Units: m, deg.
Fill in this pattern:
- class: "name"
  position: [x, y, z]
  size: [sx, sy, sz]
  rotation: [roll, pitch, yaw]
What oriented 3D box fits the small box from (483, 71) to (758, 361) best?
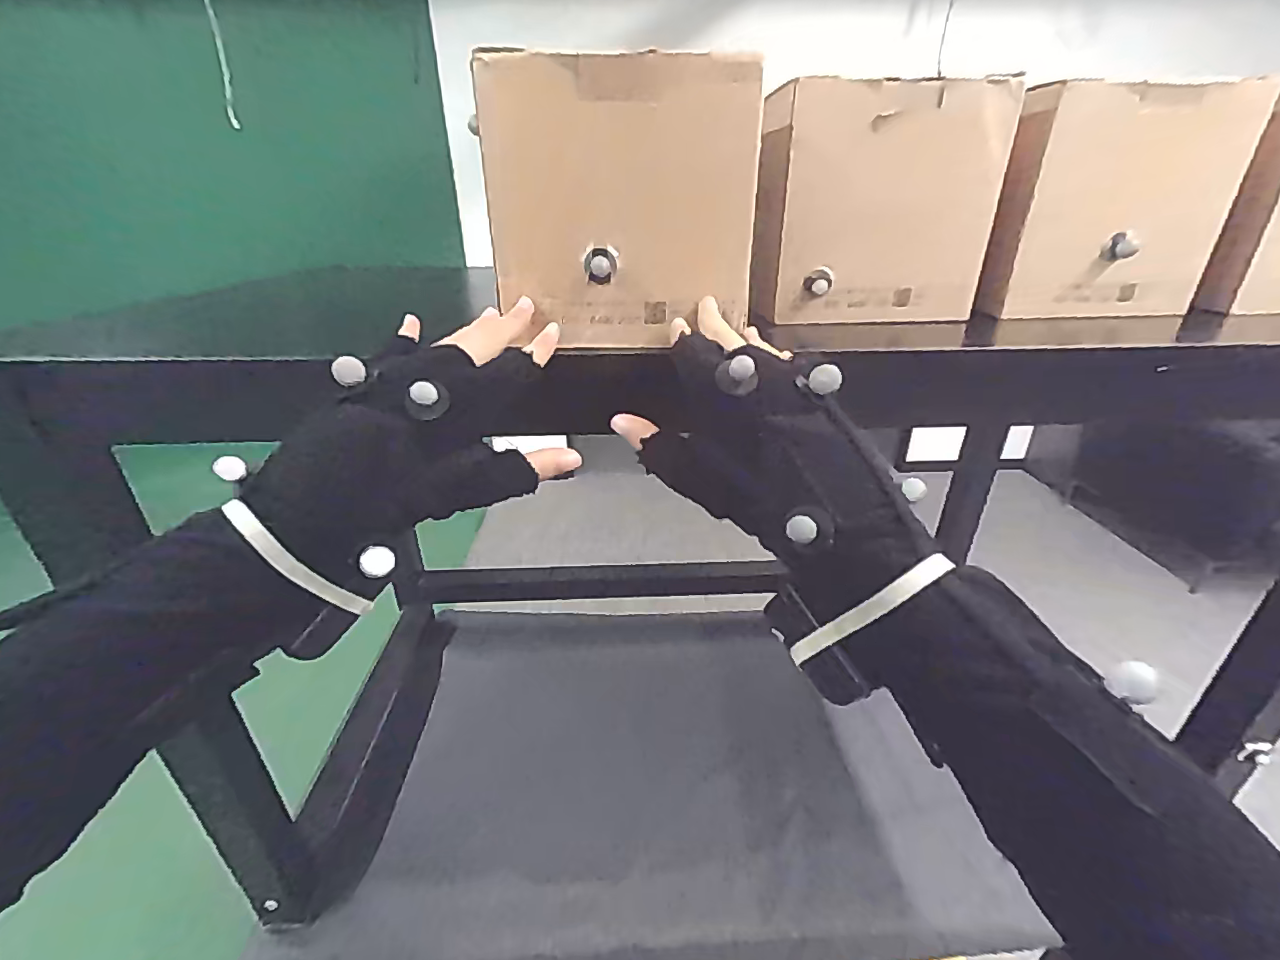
- class: "small box"
  position: [-0.013, -0.197, 0.423]
  size: [0.168, 0.176, 0.179]
  rotation: [-1, 26, -1]
